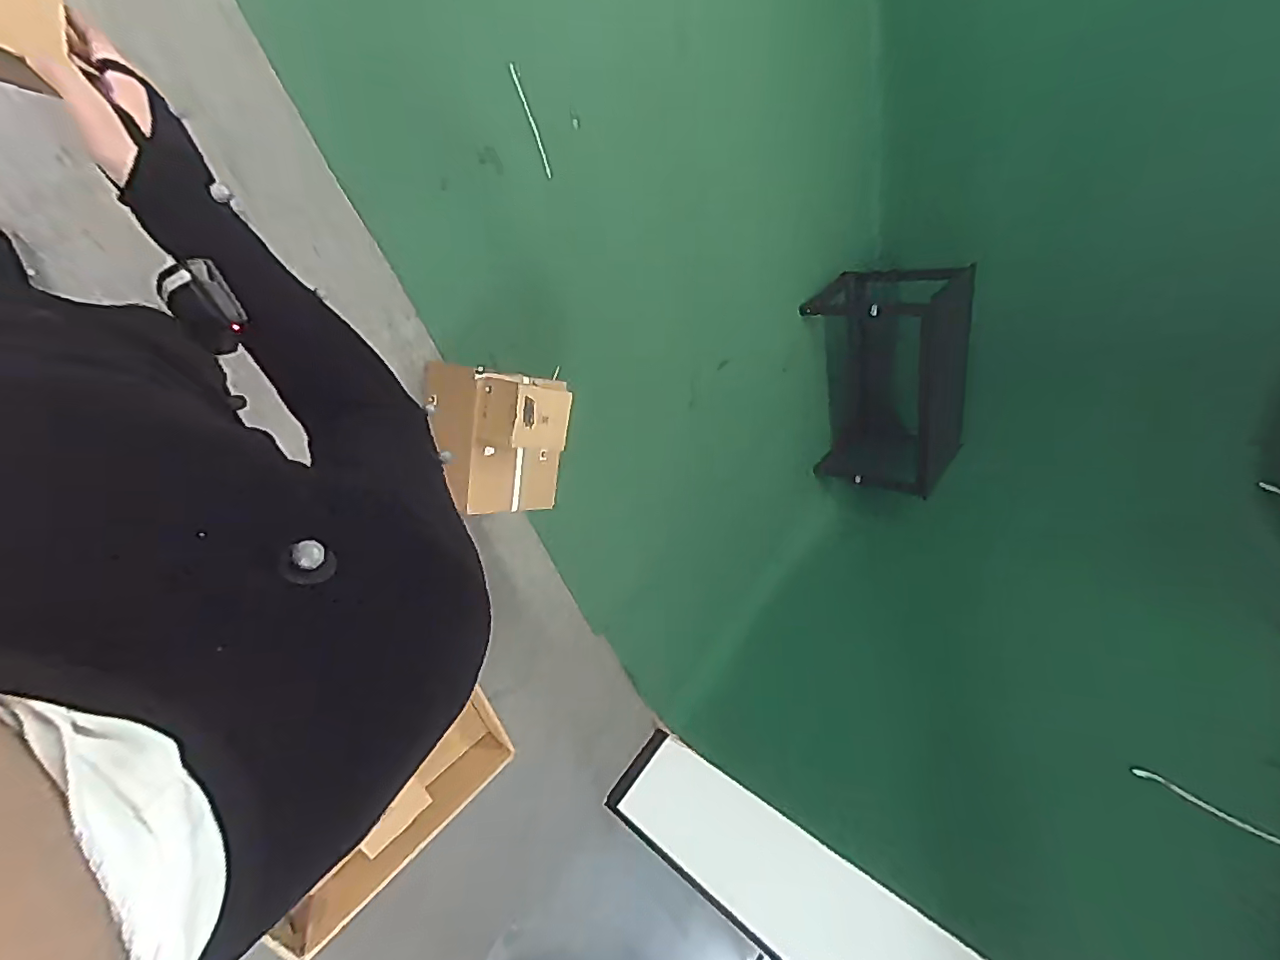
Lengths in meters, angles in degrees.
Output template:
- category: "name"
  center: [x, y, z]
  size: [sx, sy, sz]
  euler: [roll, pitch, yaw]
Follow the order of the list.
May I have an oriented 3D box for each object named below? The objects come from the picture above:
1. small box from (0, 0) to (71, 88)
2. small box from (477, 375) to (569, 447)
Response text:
- category: "small box"
  center: [-0.527, -0.416, 0.379]
  size: [0.168, 0.176, 0.179]
  euler: [-6, 113, -43]
- category: "small box"
  center: [-0.323, -0.189, 1.482]
  size: [0.179, 0.176, 0.168]
  euler: [0, 104, -48]
